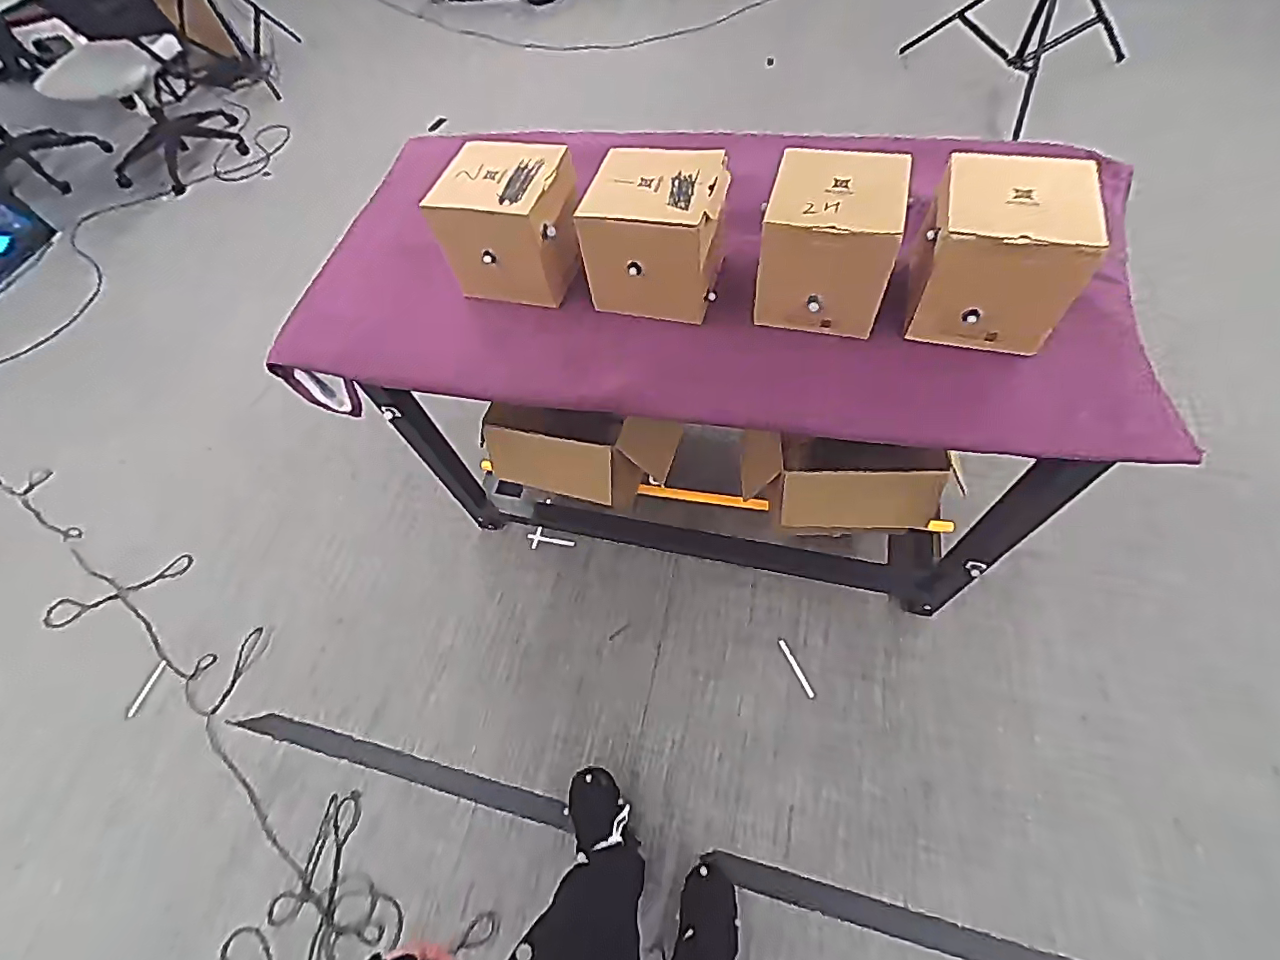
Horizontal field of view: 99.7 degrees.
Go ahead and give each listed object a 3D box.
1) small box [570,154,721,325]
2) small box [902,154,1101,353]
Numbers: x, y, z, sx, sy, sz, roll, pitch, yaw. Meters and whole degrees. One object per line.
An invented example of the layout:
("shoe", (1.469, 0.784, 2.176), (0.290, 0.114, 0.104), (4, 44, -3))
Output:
("small box", (0.020, -0.355, 0.811), (0.179, 0.176, 0.168), (10, 61, 15))
("small box", (0.461, -0.298, 0.718), (0.168, 0.176, 0.179), (11, 61, 14))
